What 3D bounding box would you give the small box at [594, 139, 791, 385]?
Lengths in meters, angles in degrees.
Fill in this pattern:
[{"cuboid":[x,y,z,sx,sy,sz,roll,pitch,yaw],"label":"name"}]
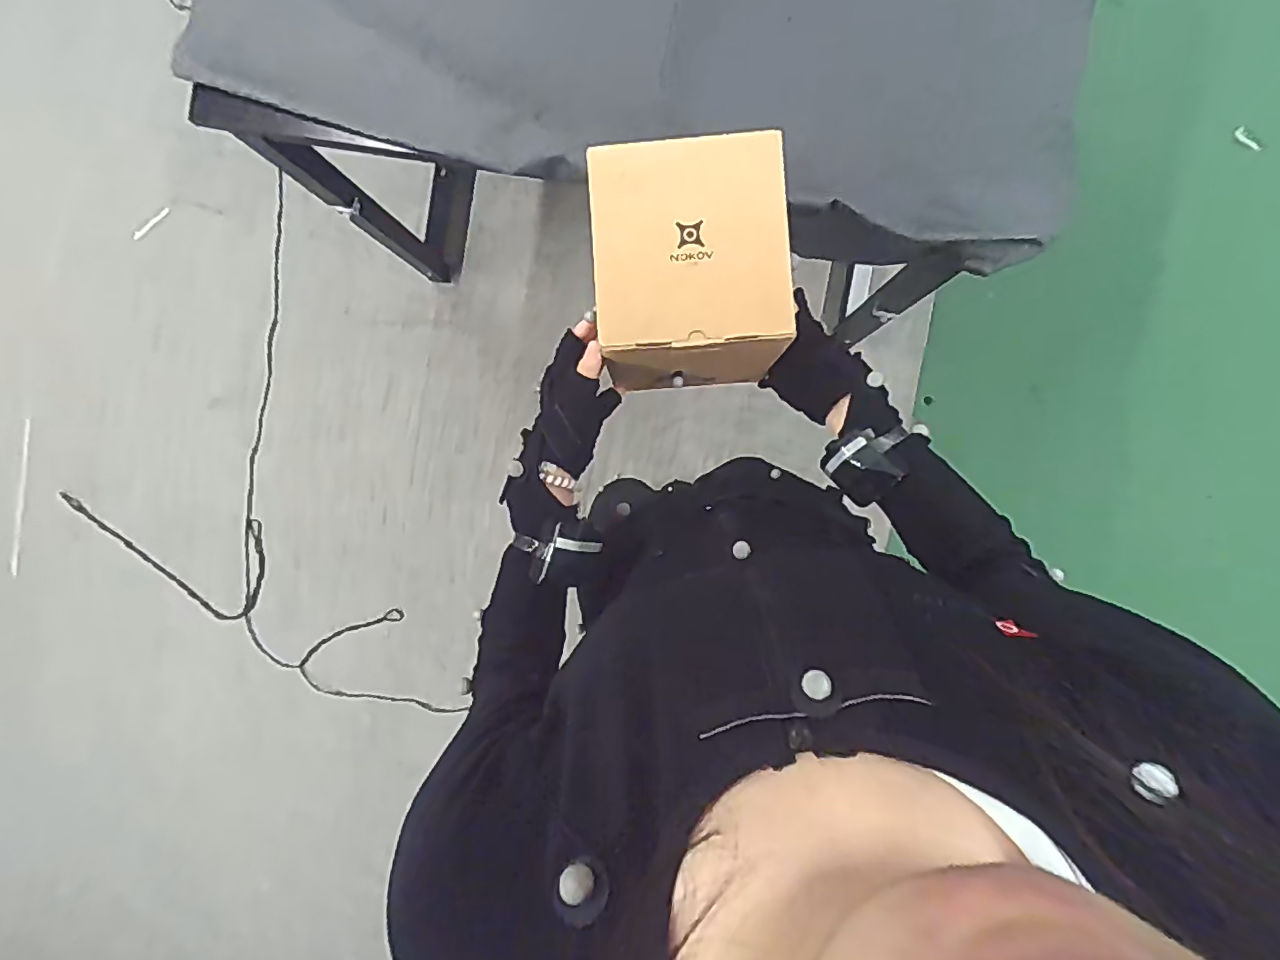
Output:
[{"cuboid":[0.046,-0.202,0.545,0.168,0.176,0.179,-4,89,2],"label":"small box"}]
